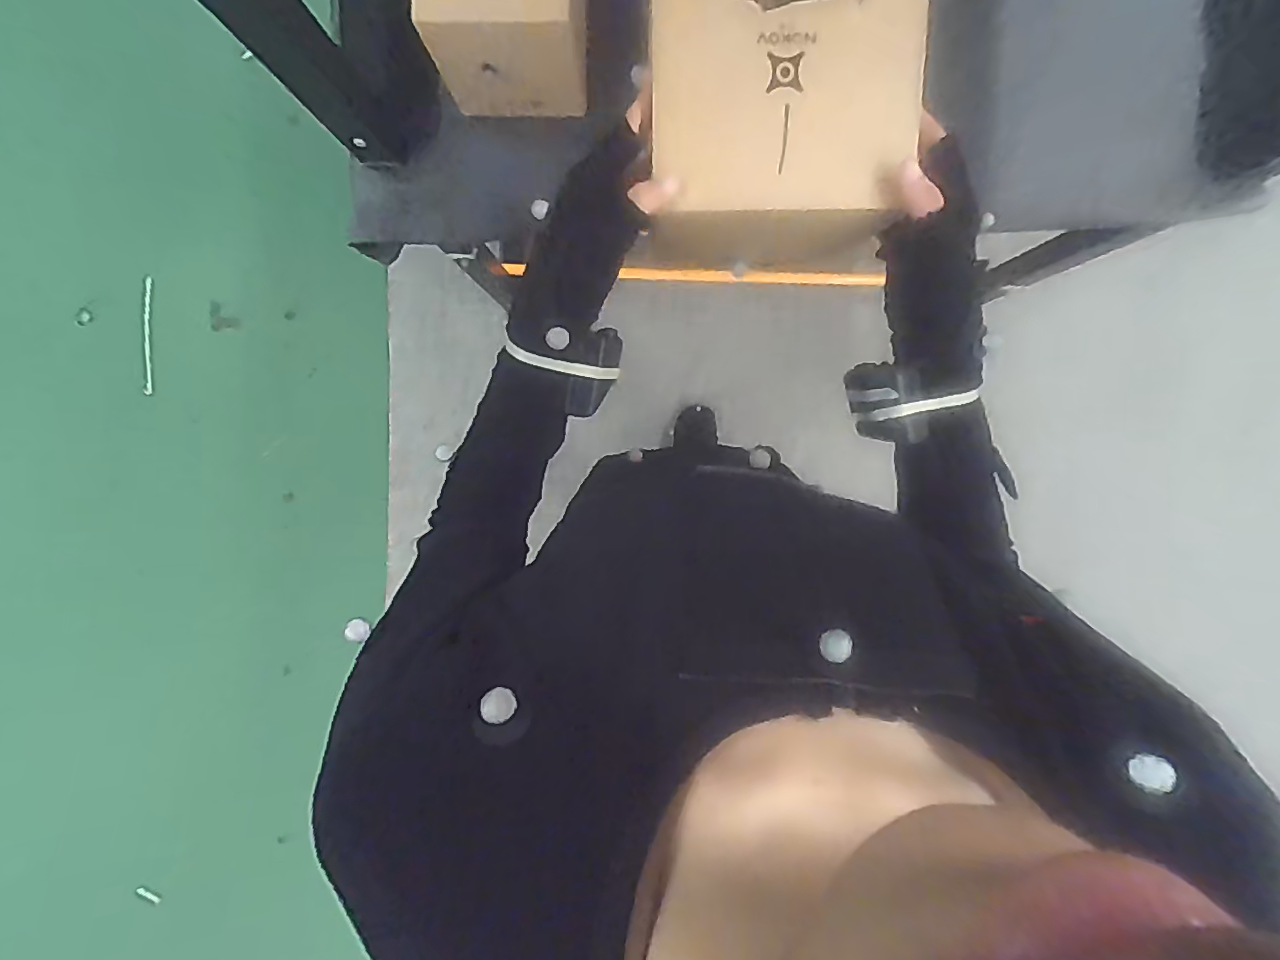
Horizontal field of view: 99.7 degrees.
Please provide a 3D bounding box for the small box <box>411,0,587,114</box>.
[{"bbox_3d":[-0.152,-0.561,0.630,0.168,0.176,0.179,0,93,0],"label":"small box"}]
